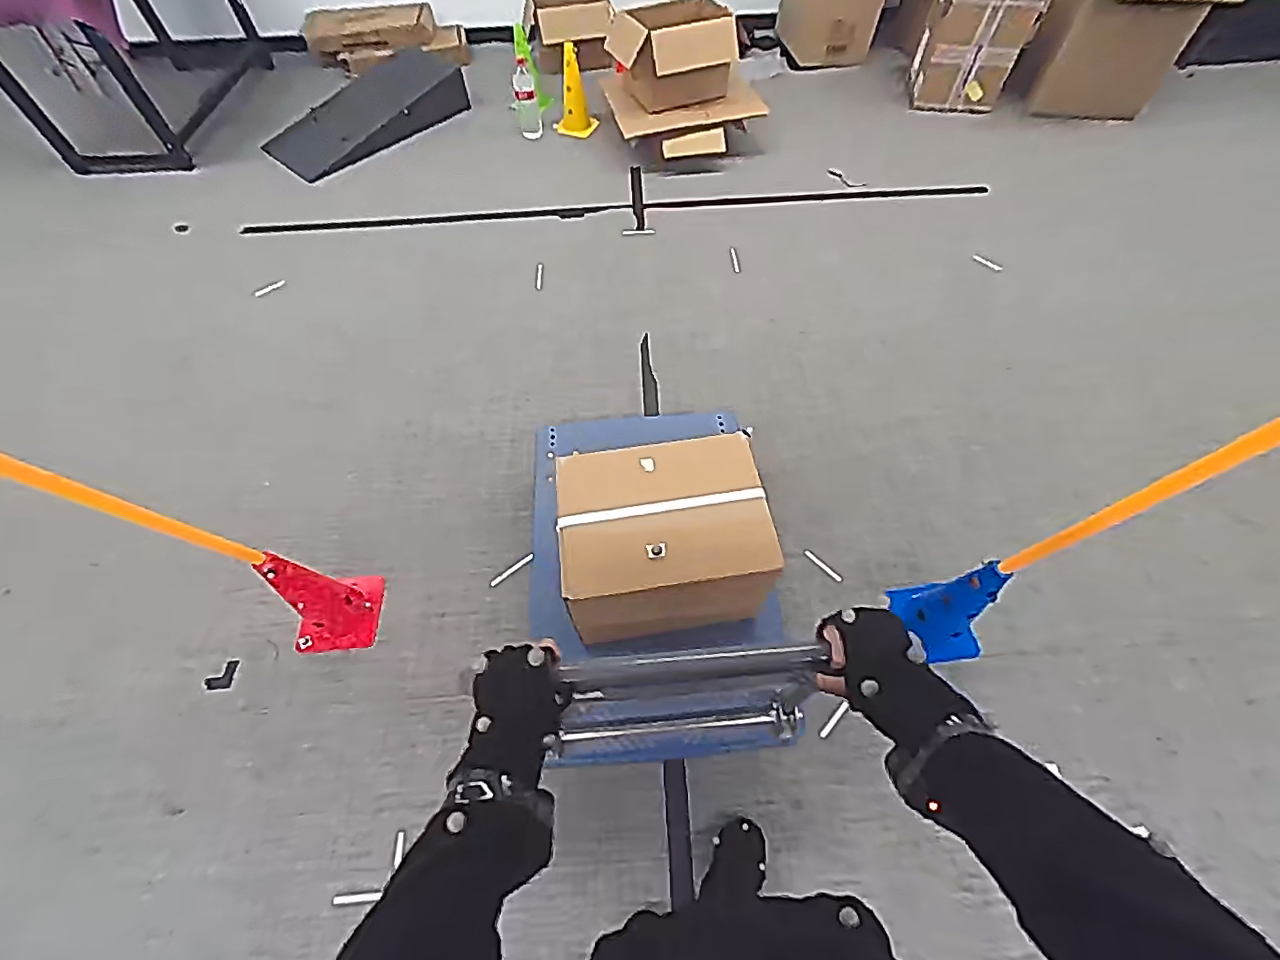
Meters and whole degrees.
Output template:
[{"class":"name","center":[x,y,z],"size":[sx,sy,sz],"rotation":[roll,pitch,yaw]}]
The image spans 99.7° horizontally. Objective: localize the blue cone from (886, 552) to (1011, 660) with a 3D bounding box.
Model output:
[{"class":"blue cone","center":[0.753,0.275,1.263],"size":[0.193,0.380,0.192],"rotation":[-6,57,-3]}]
